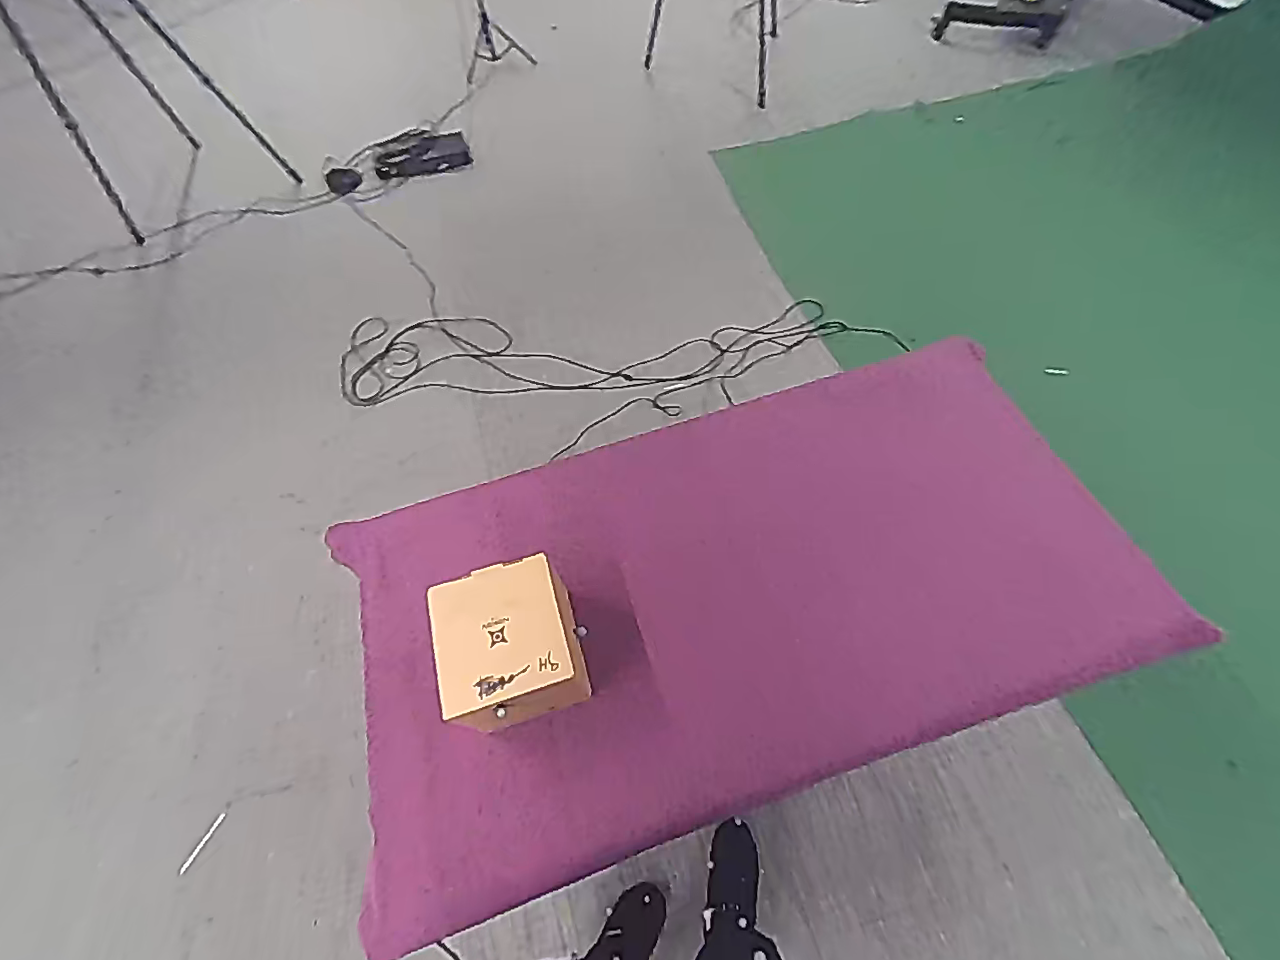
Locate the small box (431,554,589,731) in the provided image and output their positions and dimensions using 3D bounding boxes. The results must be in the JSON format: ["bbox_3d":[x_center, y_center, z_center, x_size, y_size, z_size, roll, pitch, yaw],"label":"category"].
[{"bbox_3d":[-0.178,0.234,0.765,0.168,0.176,0.179,-17,60,-6],"label":"small box"}]
